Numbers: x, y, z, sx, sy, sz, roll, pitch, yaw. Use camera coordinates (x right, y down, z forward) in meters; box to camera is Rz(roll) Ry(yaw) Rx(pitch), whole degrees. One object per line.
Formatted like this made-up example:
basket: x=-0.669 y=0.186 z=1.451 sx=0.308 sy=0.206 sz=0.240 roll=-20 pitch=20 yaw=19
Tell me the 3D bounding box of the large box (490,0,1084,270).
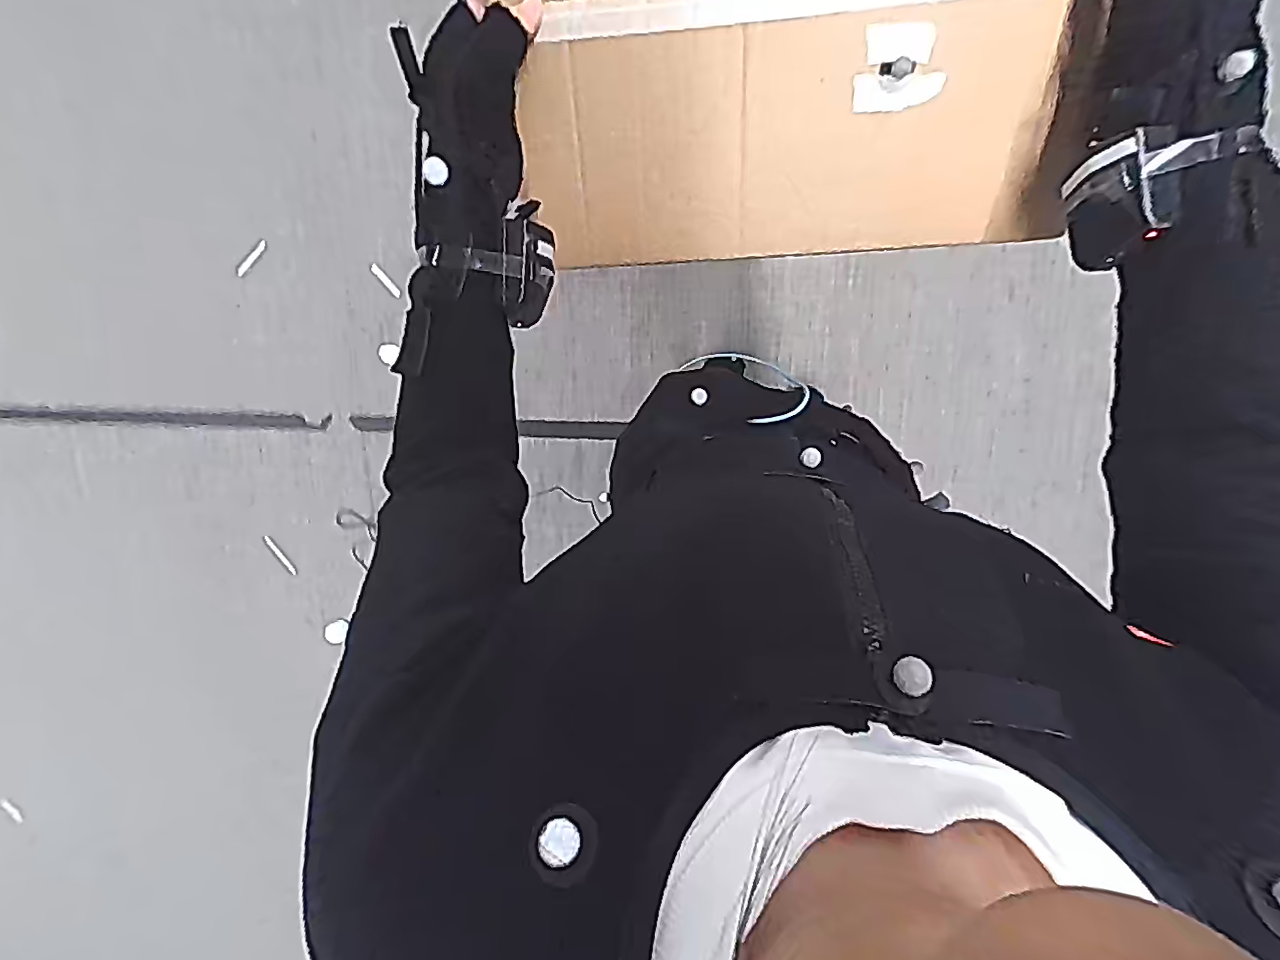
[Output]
large box: x=0.100 y=-0.390 z=0.498 sx=0.408 sy=0.320 sz=0.320 roll=-4 pitch=116 yaw=5
